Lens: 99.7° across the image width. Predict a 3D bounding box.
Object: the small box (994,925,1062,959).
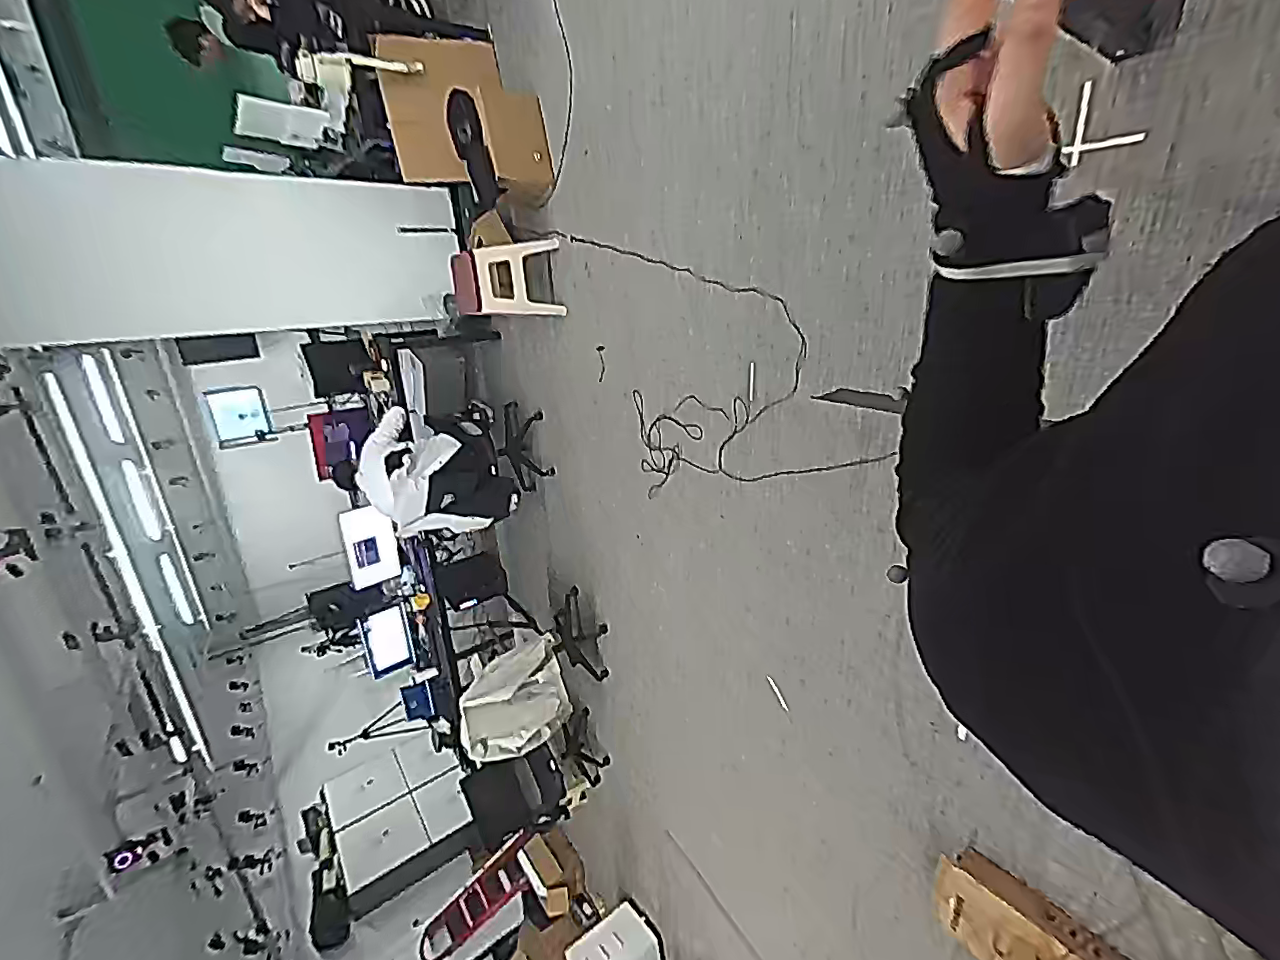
[{"bbox_3d":[1.091,1.421,1.517,0.168,0.176,0.179,28,126,47],"label":"small box"}]
